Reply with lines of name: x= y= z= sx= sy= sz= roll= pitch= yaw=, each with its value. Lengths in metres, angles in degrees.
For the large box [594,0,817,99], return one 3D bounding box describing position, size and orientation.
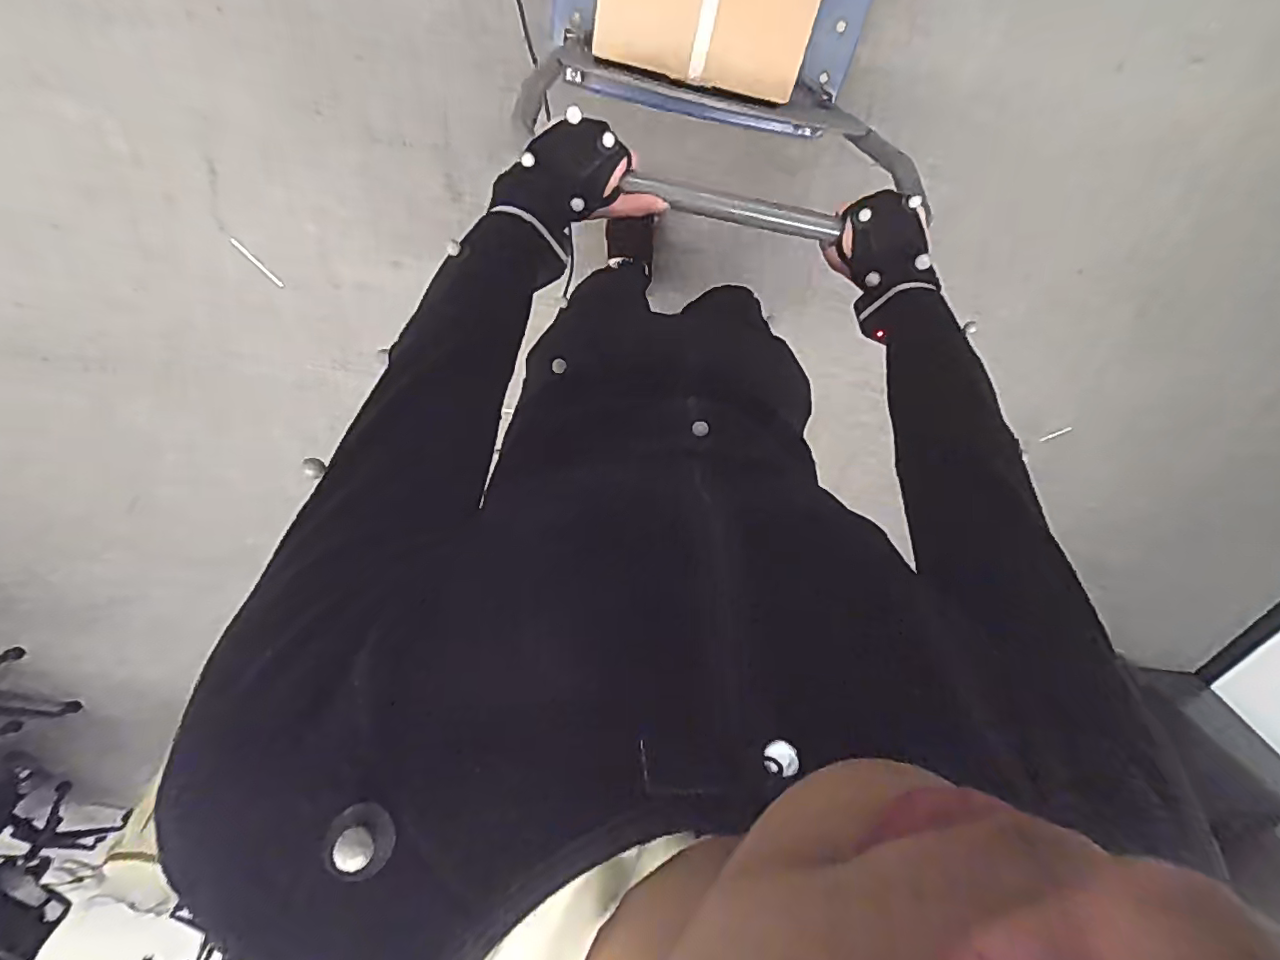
large box: x=0.118 y=-0.860 z=0.830 sx=0.320 sy=0.320 sz=0.408 roll=9 pitch=127 yaw=-7
